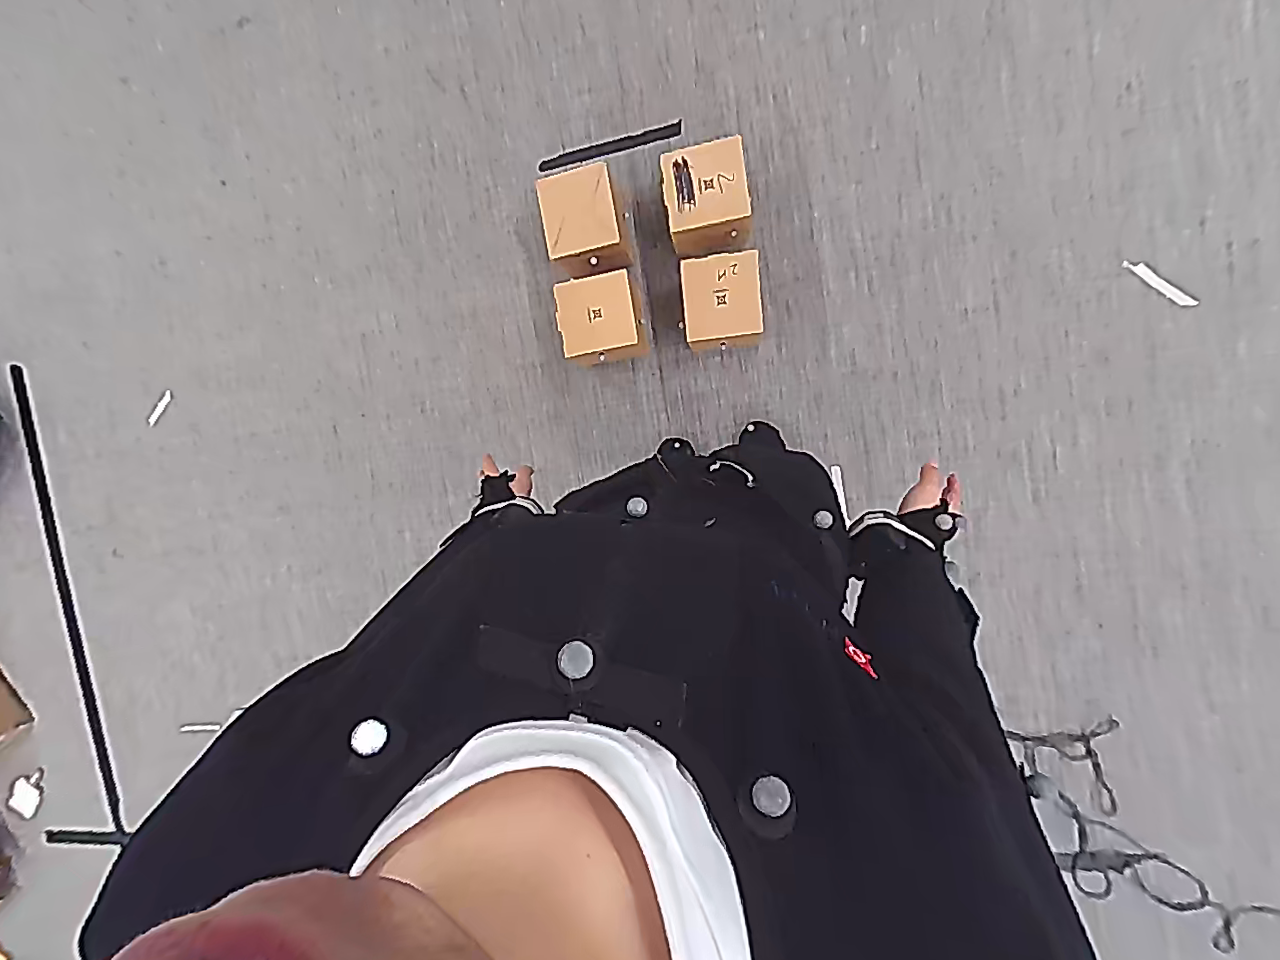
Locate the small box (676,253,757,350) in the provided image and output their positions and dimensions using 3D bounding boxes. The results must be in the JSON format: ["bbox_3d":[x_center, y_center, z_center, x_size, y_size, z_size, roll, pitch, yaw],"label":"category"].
[{"bbox_3d":[0.178,-0.398,1.239,0.168,0.176,0.179,-4,95,9],"label":"small box"}]

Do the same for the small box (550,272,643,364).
[{"bbox_3d":[-0.094,-0.378,1.290,0.179,0.176,0.168,-8,95,11],"label":"small box"}]
